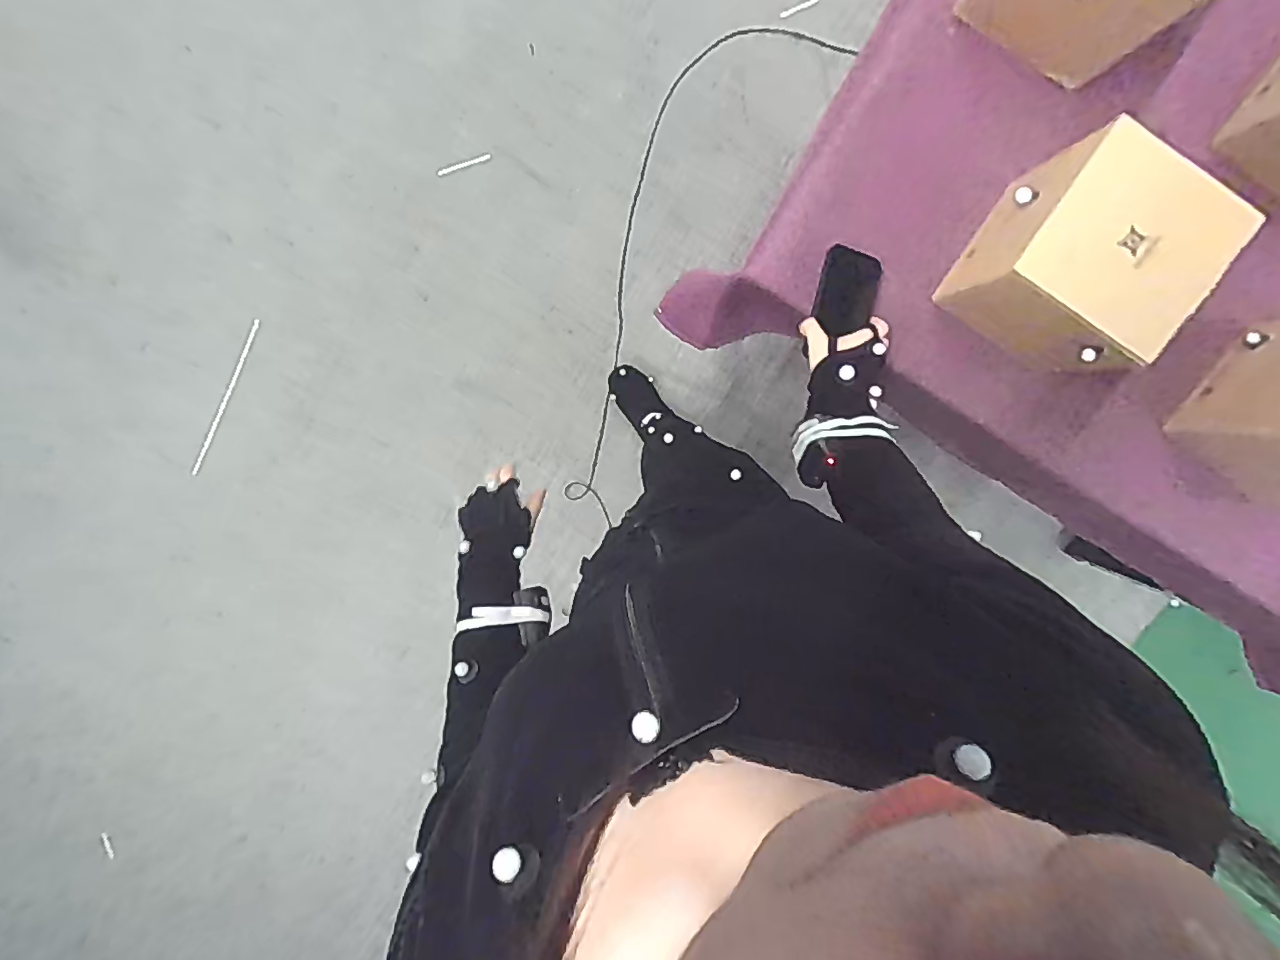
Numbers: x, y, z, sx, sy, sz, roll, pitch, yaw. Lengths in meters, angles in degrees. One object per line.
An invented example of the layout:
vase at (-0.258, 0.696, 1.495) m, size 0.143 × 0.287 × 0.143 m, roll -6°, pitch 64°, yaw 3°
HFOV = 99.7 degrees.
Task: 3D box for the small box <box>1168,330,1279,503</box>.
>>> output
small box at (0.791, -0.068, 0.621) m, size 0.179 × 0.176 × 0.168 m, roll 34°, pitch 99°, yaw -4°

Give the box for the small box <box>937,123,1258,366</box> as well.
small box at (0.483, -0.239, 0.606) m, size 0.179 × 0.176 × 0.168 m, roll 32°, pitch 99°, yaw -4°
